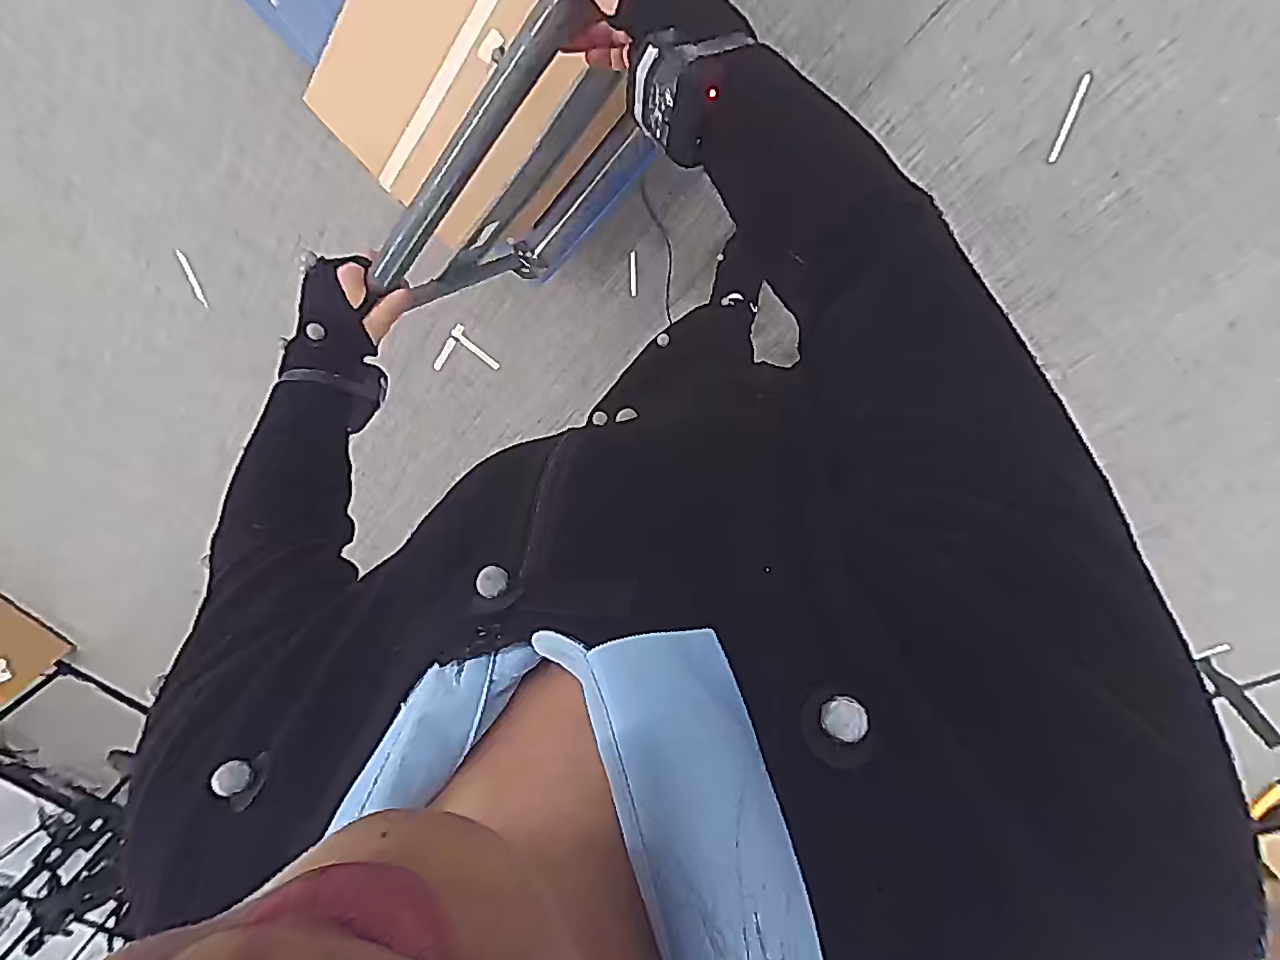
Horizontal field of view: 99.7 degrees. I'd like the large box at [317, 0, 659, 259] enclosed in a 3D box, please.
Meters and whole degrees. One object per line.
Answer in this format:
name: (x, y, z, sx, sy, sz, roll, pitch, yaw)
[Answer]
large box: (-0.231, -0.649, 0.898, 0.408, 0.320, 0.320, -37, 108, 29)
